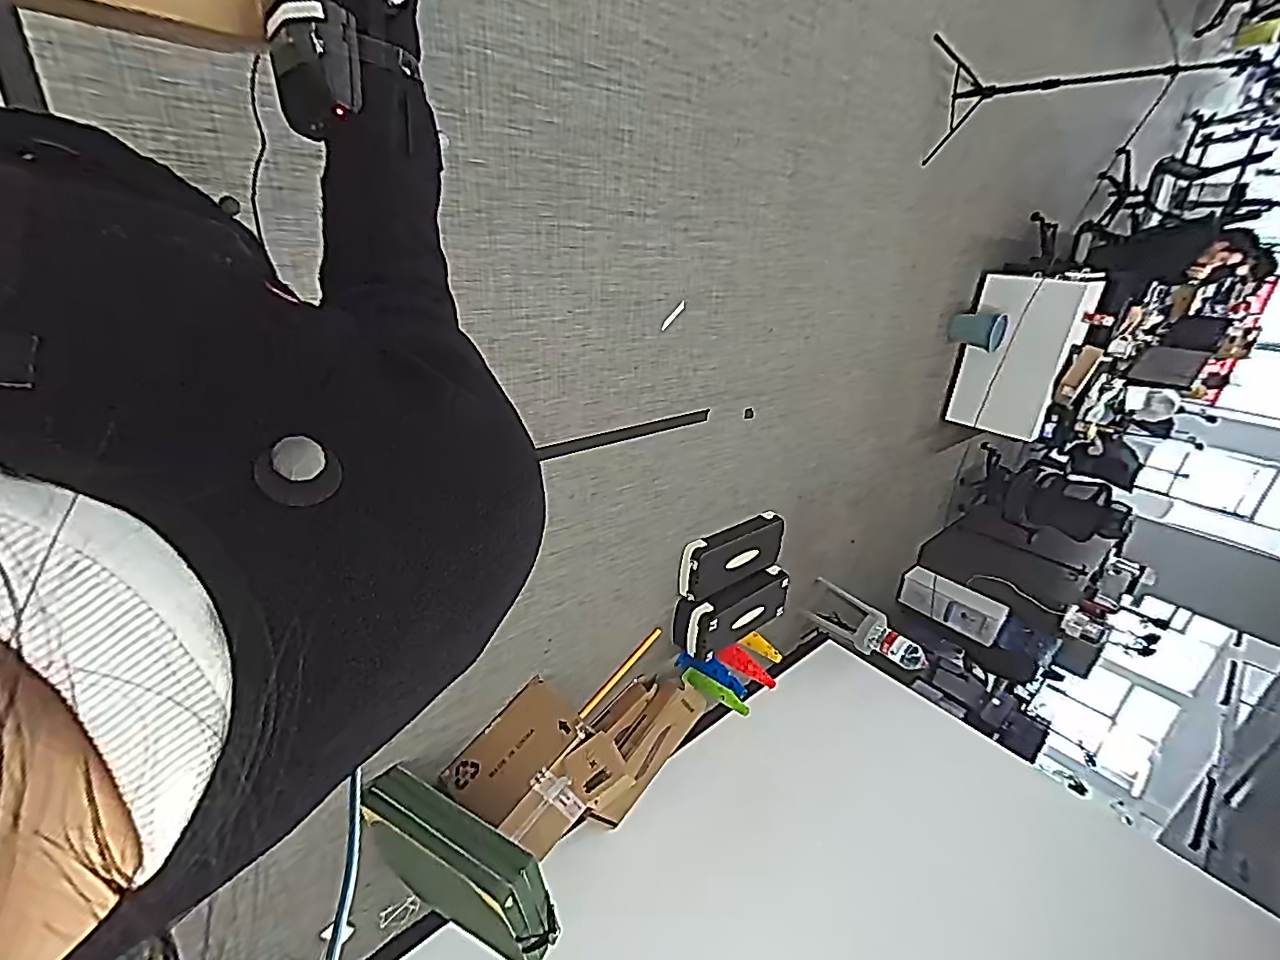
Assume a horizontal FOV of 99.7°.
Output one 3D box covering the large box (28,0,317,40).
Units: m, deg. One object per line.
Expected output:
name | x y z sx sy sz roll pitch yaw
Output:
large box | -0.444 -0.454 0.258 0.408 0.320 0.320 -18 132 -40
